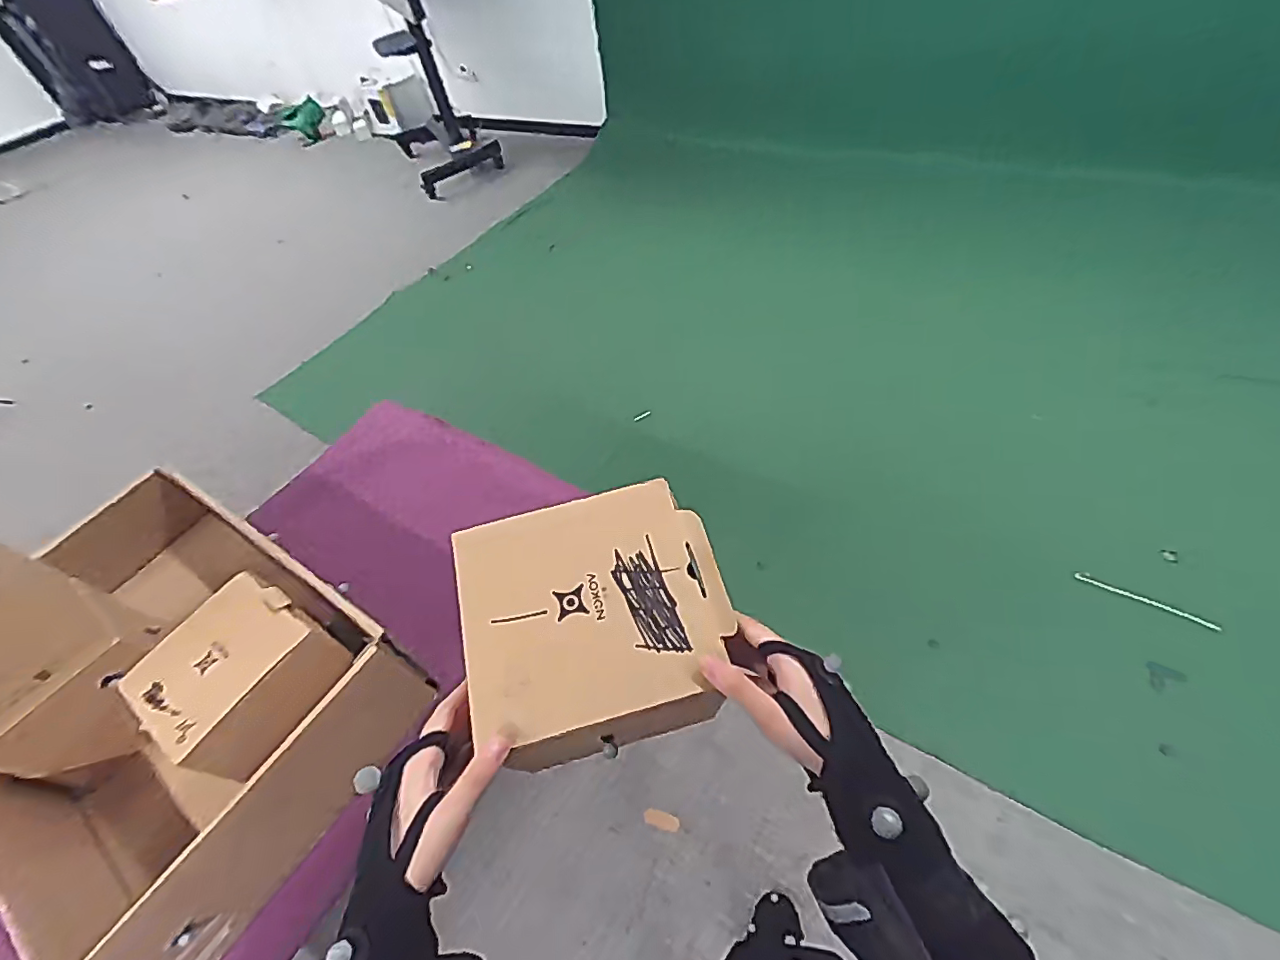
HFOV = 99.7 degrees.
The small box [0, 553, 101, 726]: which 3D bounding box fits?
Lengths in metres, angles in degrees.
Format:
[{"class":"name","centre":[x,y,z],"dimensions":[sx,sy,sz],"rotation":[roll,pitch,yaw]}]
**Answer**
[{"class":"small box","centre":[-0.779,0.177,0.607],"dimensions":[0.179,0.176,0.168],"rotation":[25,60,26]}]

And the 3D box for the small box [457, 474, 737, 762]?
[{"class":"small box","centre":[-0.036,0.122,0.455],"dimensions":[0.179,0.176,0.168],"rotation":[-14,58,-6]}]
